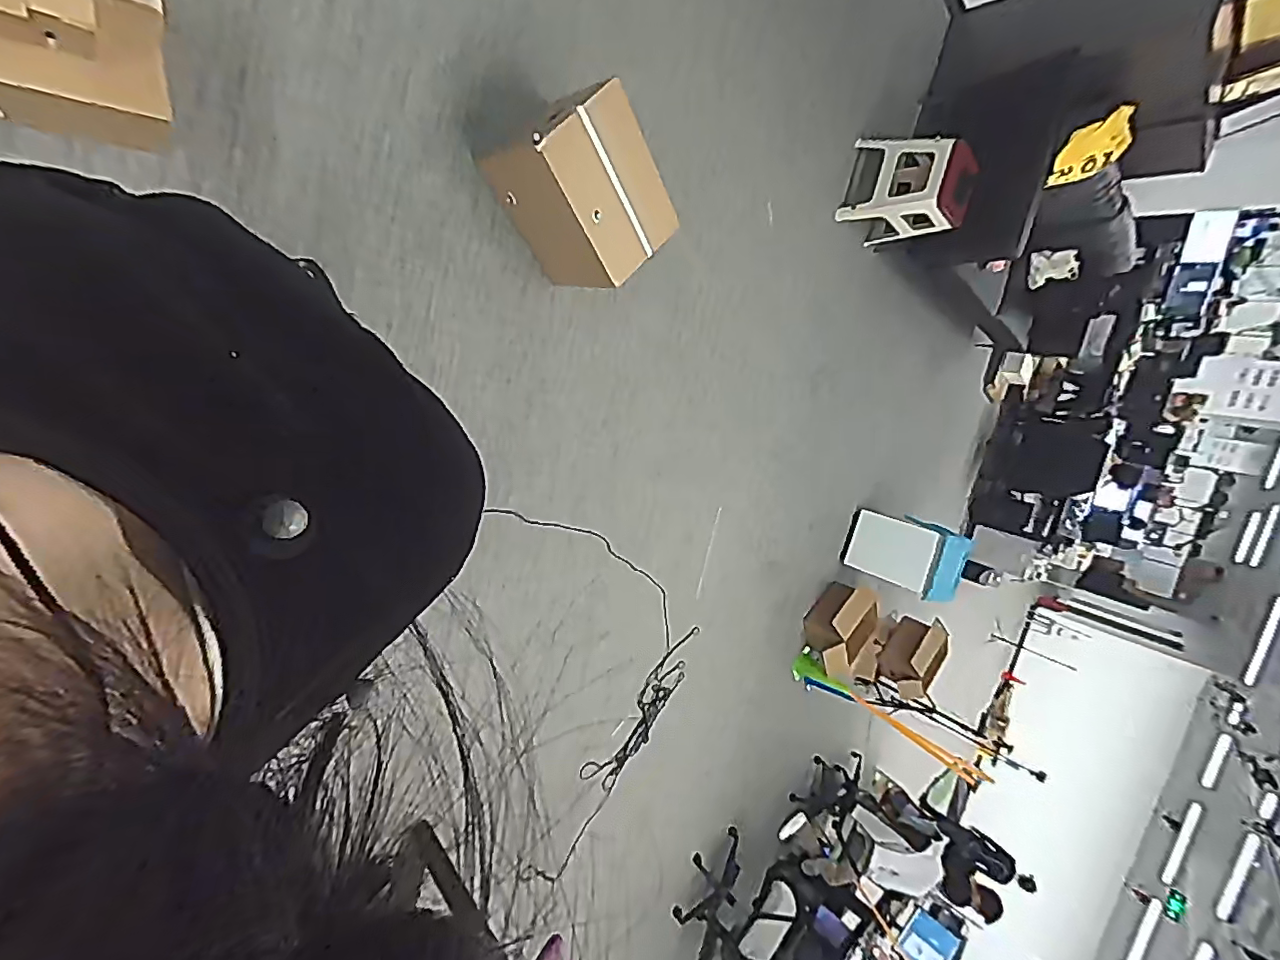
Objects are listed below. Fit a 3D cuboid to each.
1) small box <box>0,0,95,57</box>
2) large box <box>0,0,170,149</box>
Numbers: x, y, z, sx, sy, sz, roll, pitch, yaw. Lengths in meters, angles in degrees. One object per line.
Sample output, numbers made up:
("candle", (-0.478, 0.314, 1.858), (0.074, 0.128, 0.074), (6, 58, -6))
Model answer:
("small box", (-0.773, -0.643, 0.637), (0.168, 0.176, 0.179), (-10, 113, -43))
("large box", (-0.969, -0.714, 0.775), (0.408, 0.320, 0.320), (-10, 111, -41))
